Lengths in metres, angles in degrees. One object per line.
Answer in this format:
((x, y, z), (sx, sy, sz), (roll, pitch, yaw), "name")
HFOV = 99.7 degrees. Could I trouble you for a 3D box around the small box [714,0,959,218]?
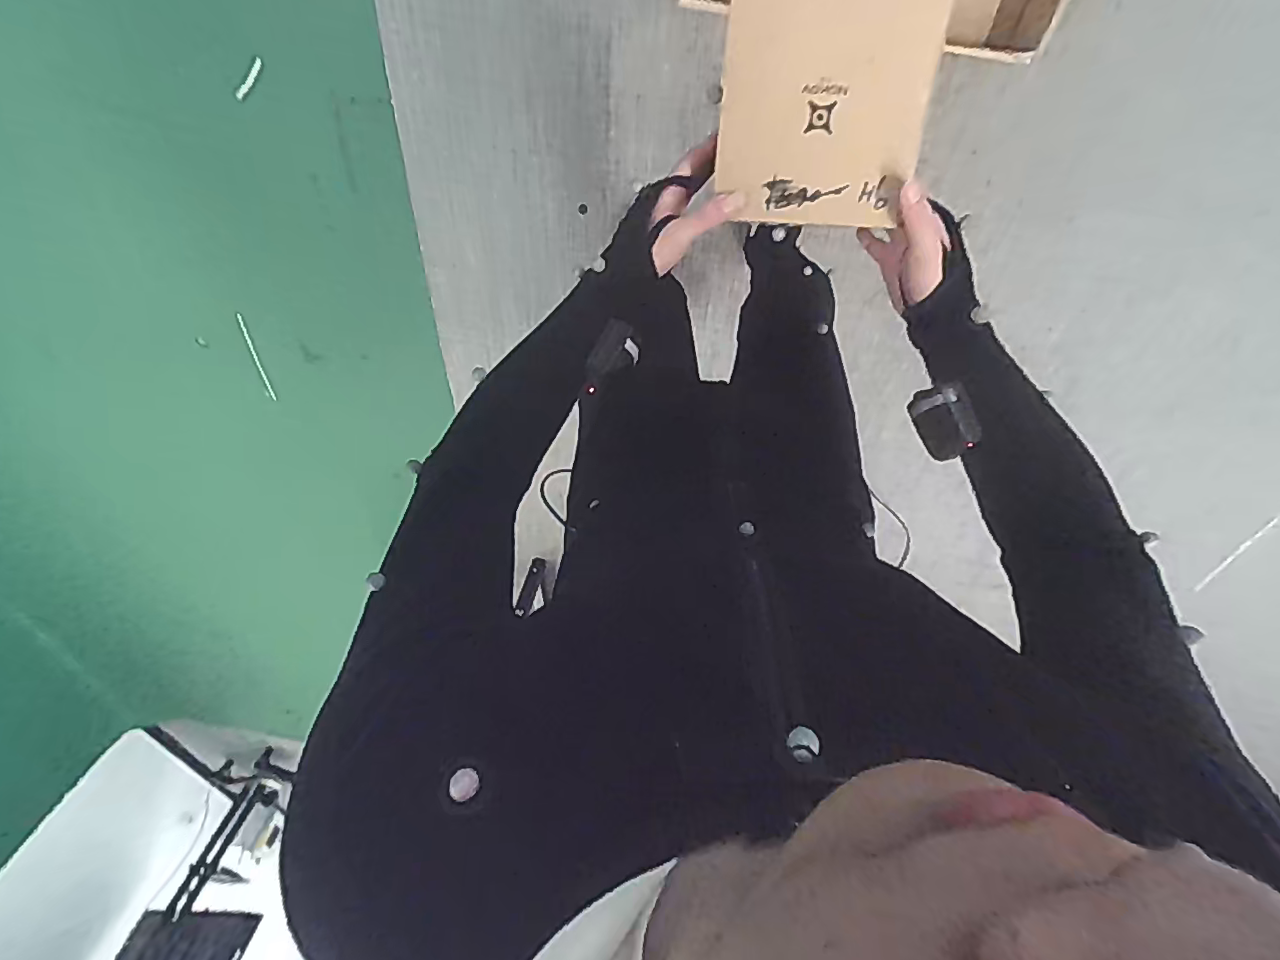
((0.159, -0.344, 0.497), (0.168, 0.176, 0.179), (5, 116, 5), "small box")
